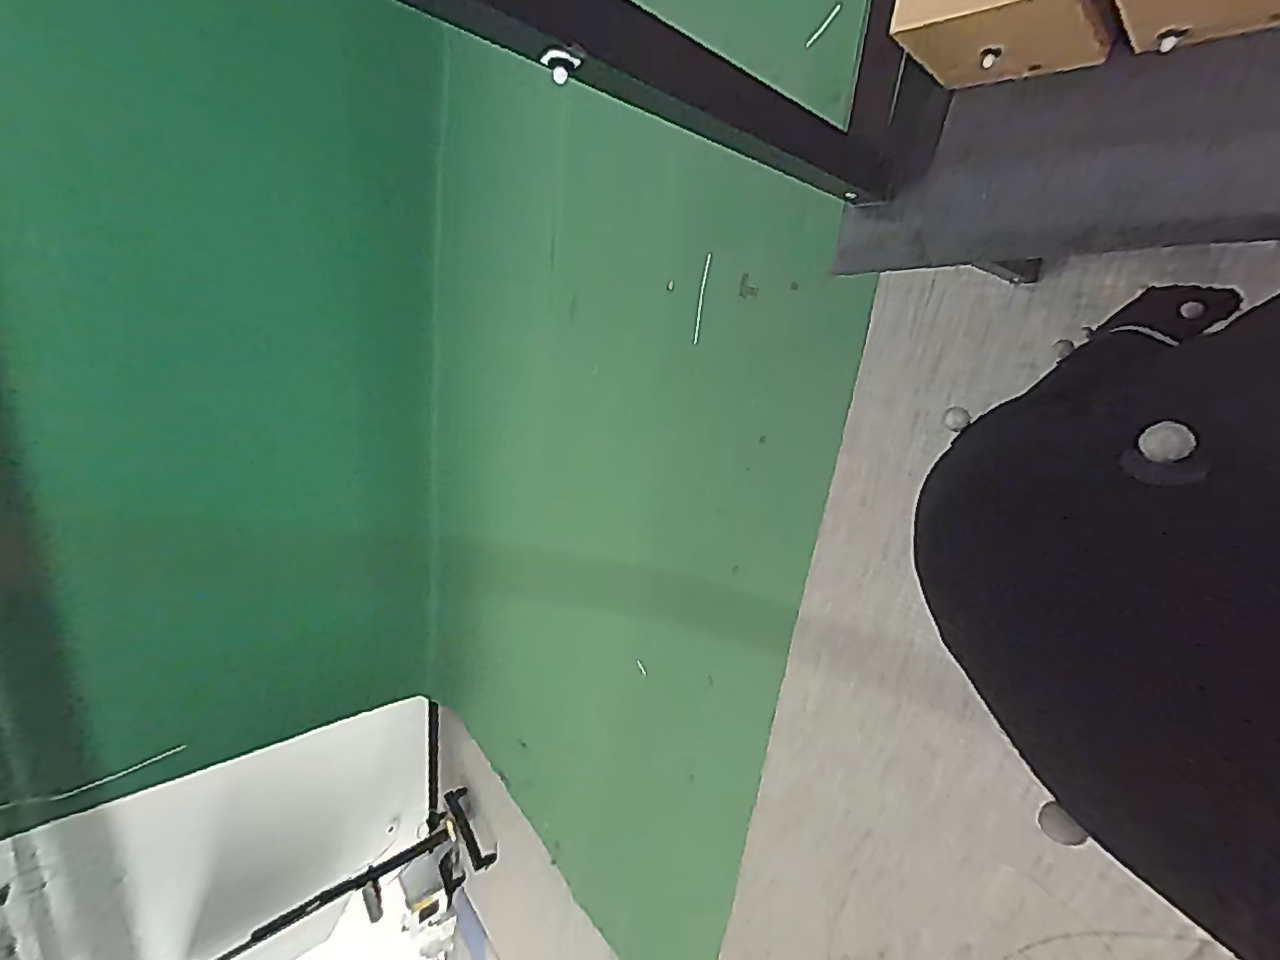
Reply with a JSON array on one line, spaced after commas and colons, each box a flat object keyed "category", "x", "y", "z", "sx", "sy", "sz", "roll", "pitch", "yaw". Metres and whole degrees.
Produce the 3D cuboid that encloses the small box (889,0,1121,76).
[{"category": "small box", "x": 0.389, "y": -0.543, "z": 0.548, "sx": 0.168, "sy": 0.176, "sz": 0.179, "roll": 26, "pitch": 115, "yaw": 43}]
